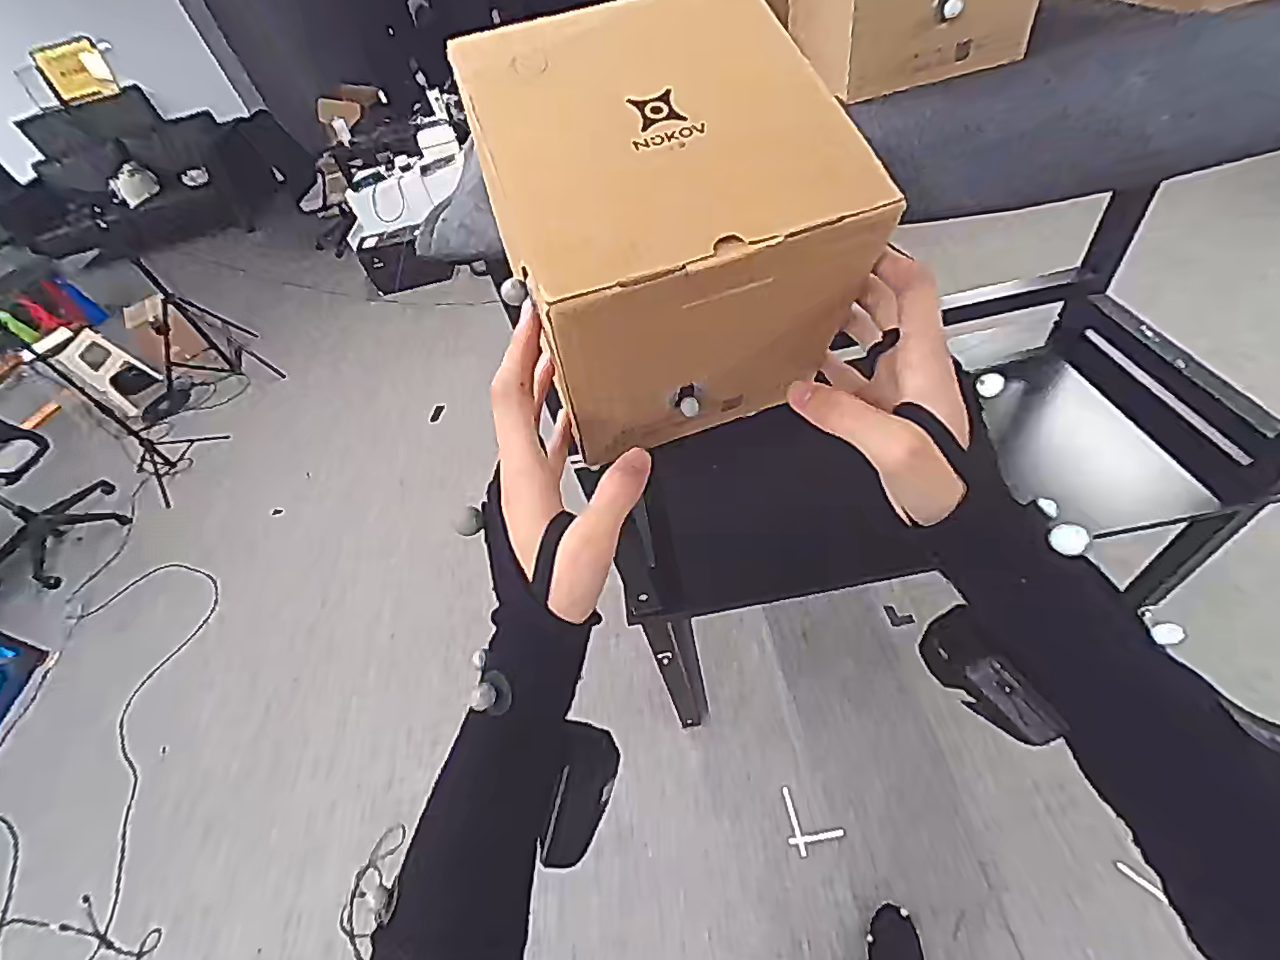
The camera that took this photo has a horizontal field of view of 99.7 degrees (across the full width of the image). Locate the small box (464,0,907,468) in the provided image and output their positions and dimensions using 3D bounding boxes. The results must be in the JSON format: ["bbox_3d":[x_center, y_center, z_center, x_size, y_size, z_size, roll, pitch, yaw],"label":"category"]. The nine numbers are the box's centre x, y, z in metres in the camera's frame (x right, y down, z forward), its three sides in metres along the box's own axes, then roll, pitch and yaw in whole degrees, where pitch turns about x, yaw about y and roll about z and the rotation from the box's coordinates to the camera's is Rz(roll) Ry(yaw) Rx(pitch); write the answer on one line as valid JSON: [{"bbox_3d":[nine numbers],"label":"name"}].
[{"bbox_3d":[0.012,-0.133,0.331,0.168,0.176,0.179,-19,71,-8],"label":"small box"}]
